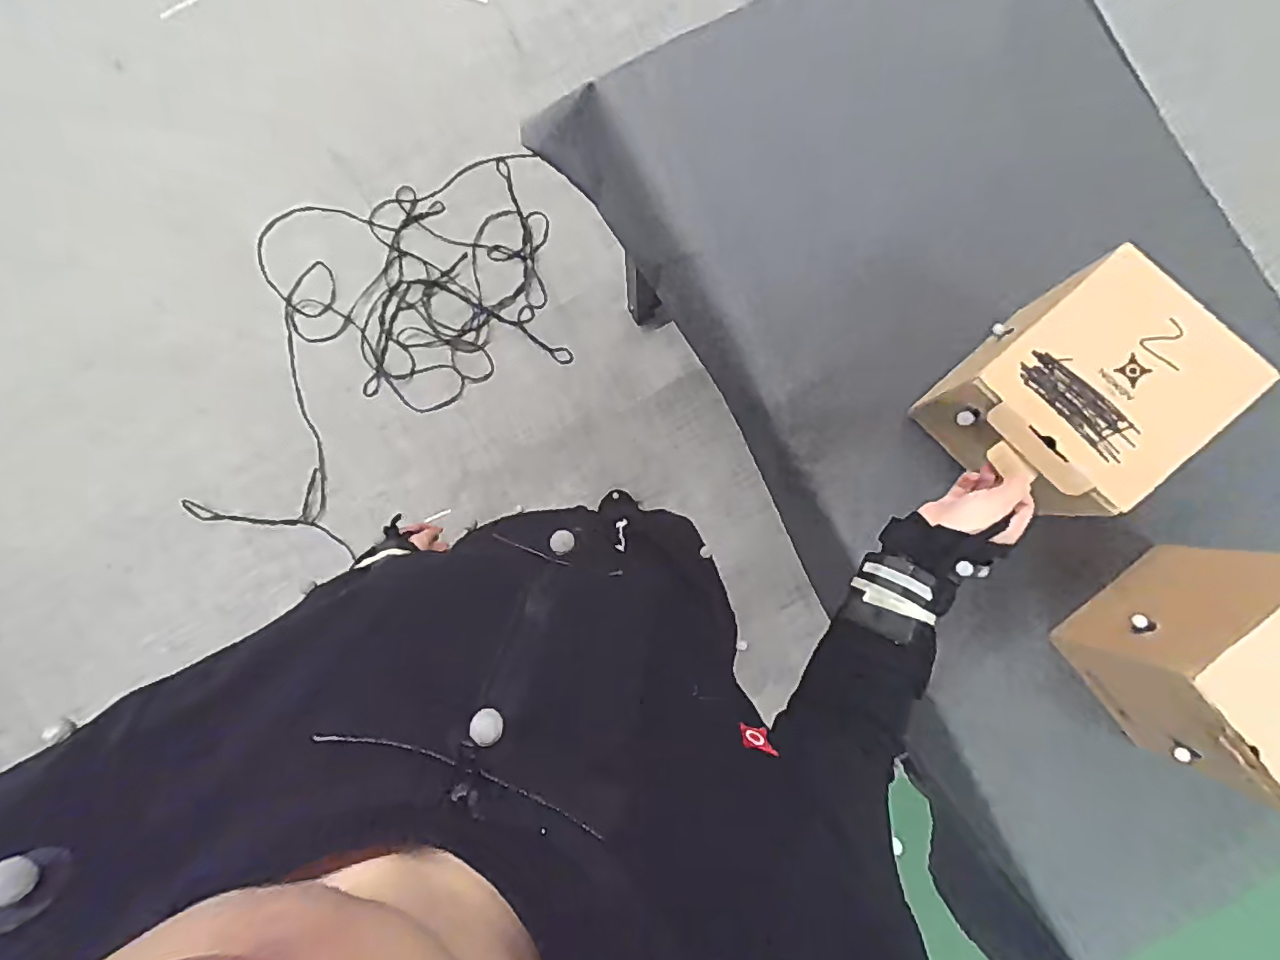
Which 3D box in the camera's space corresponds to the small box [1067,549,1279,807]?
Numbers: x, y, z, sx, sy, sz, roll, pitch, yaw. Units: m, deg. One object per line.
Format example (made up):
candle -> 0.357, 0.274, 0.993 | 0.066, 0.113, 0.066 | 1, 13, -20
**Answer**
small box -> 0.594, 0.188, 0.553 | 0.179, 0.176, 0.168 | -38, 89, -4
